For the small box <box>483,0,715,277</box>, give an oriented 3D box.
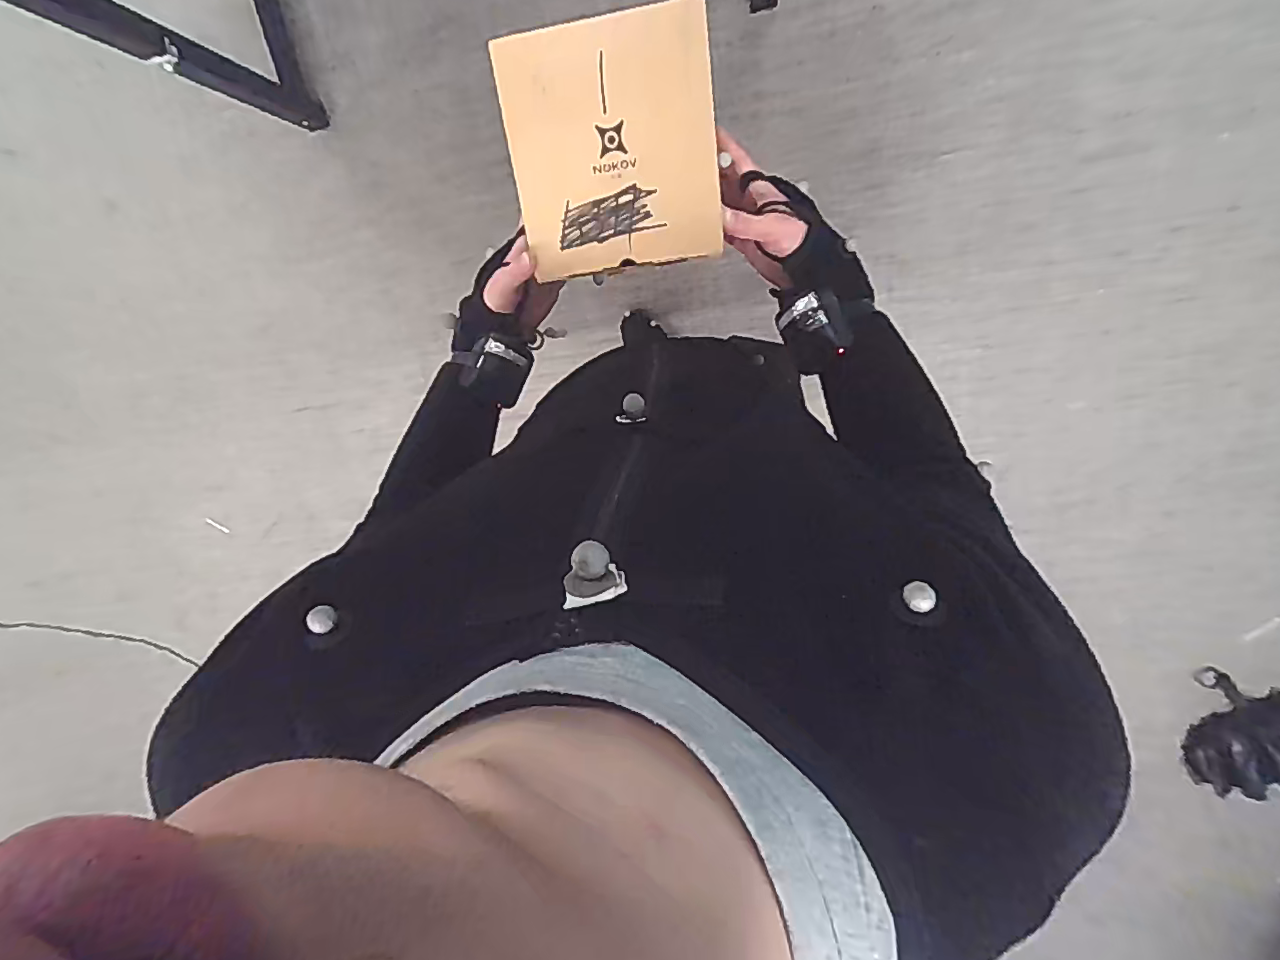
[{"bbox_3d":[-0.019,-0.295,0.497,0.168,0.176,0.179,-5,113,8],"label":"small box"}]
